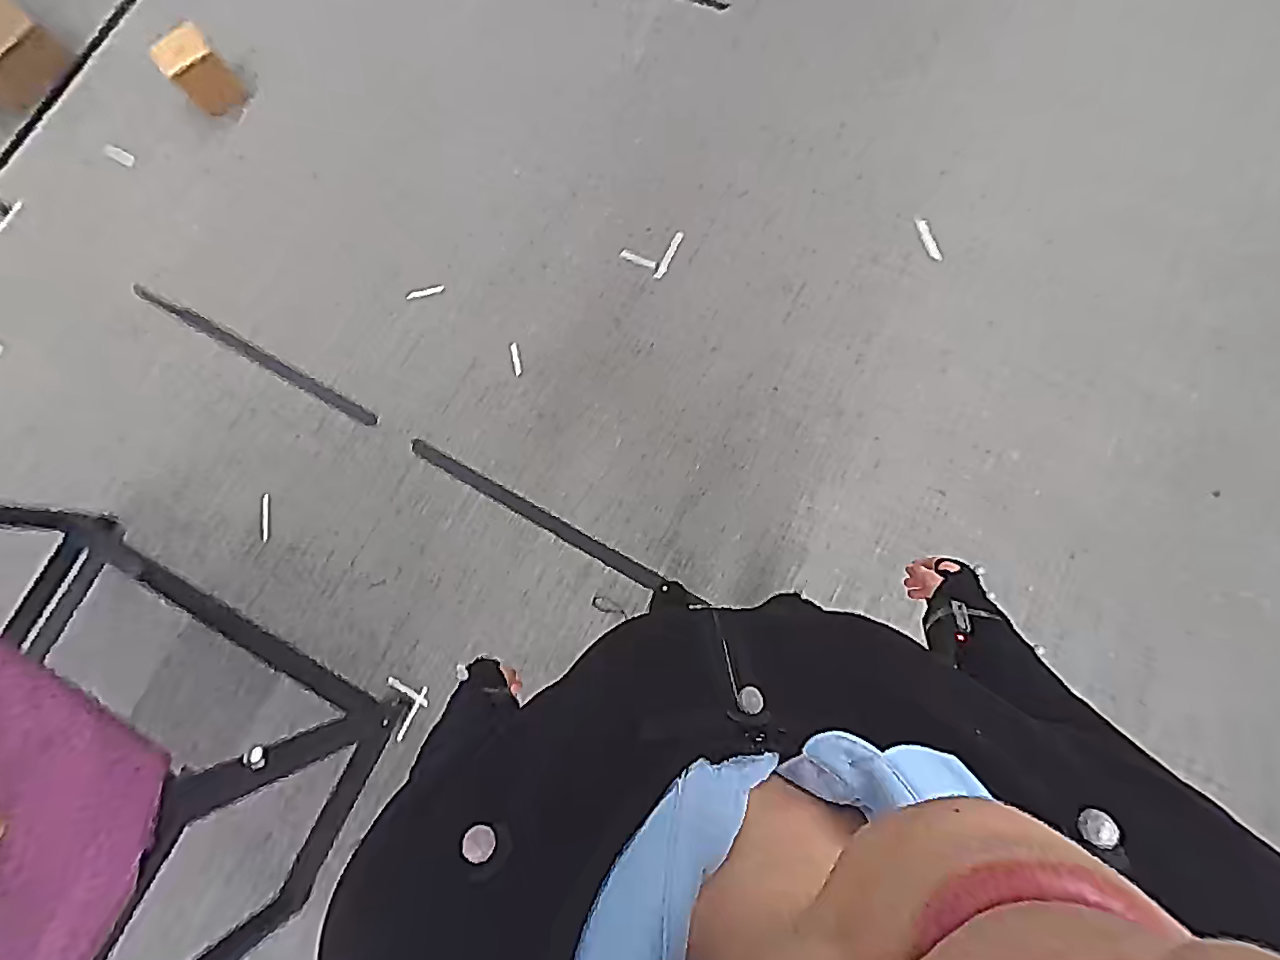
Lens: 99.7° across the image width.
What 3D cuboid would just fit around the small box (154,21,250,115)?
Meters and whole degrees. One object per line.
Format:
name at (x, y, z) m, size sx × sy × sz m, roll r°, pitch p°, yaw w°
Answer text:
small box at (-1.545, -1.453, 1.918) m, size 0.179 × 0.176 × 0.168 m, roll -36°, pitch 78°, yaw -3°
